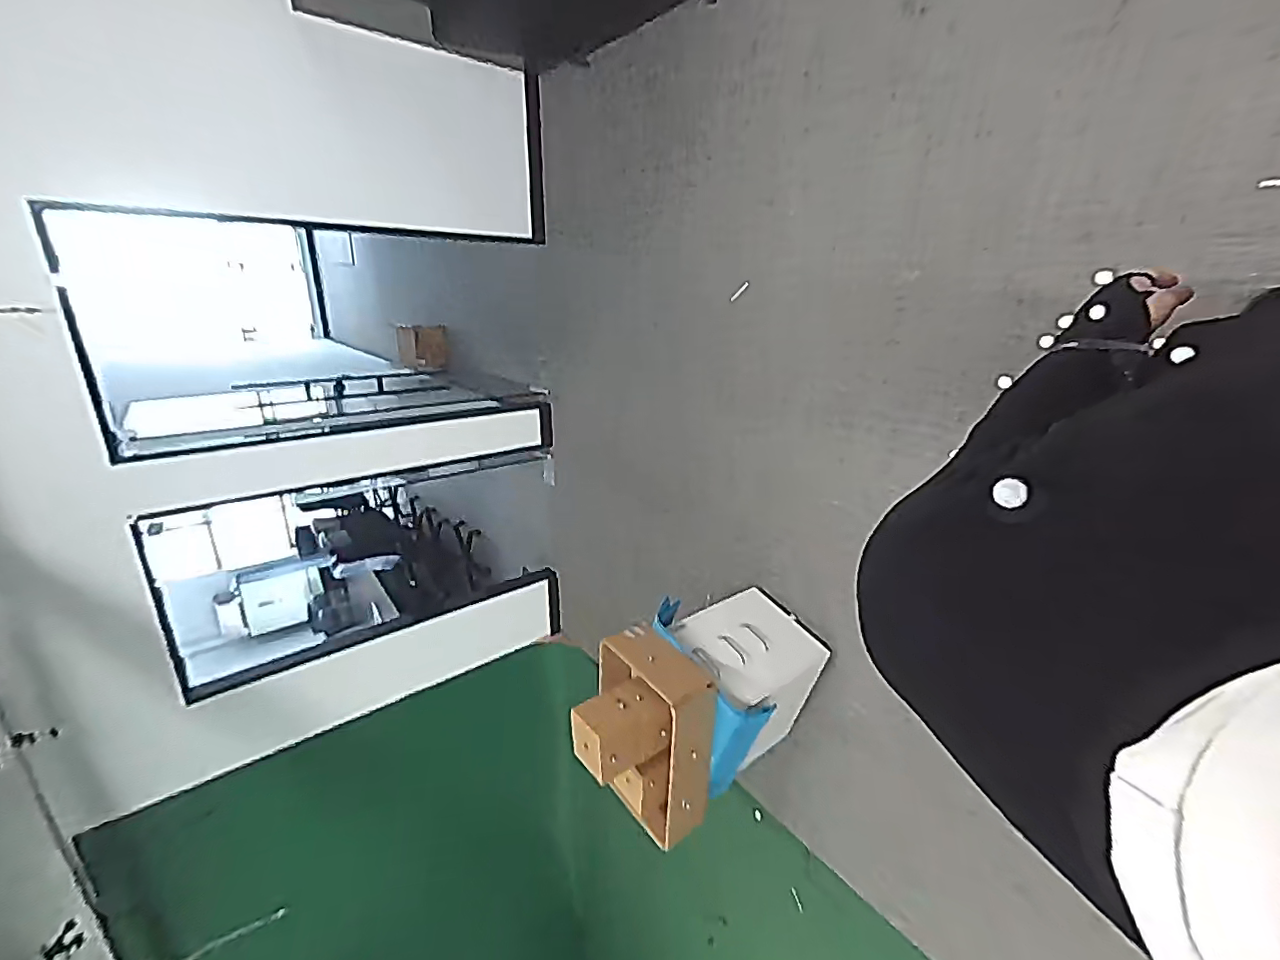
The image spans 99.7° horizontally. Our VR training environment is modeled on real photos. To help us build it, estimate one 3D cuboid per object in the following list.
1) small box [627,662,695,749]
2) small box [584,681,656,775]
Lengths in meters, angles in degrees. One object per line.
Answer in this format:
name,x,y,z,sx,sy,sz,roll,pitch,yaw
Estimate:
small box,0.072,0.743,1.801,0.168,0.176,0.179,23,120,51
small box,-0.061,0.776,1.712,0.168,0.176,0.179,21,118,51
